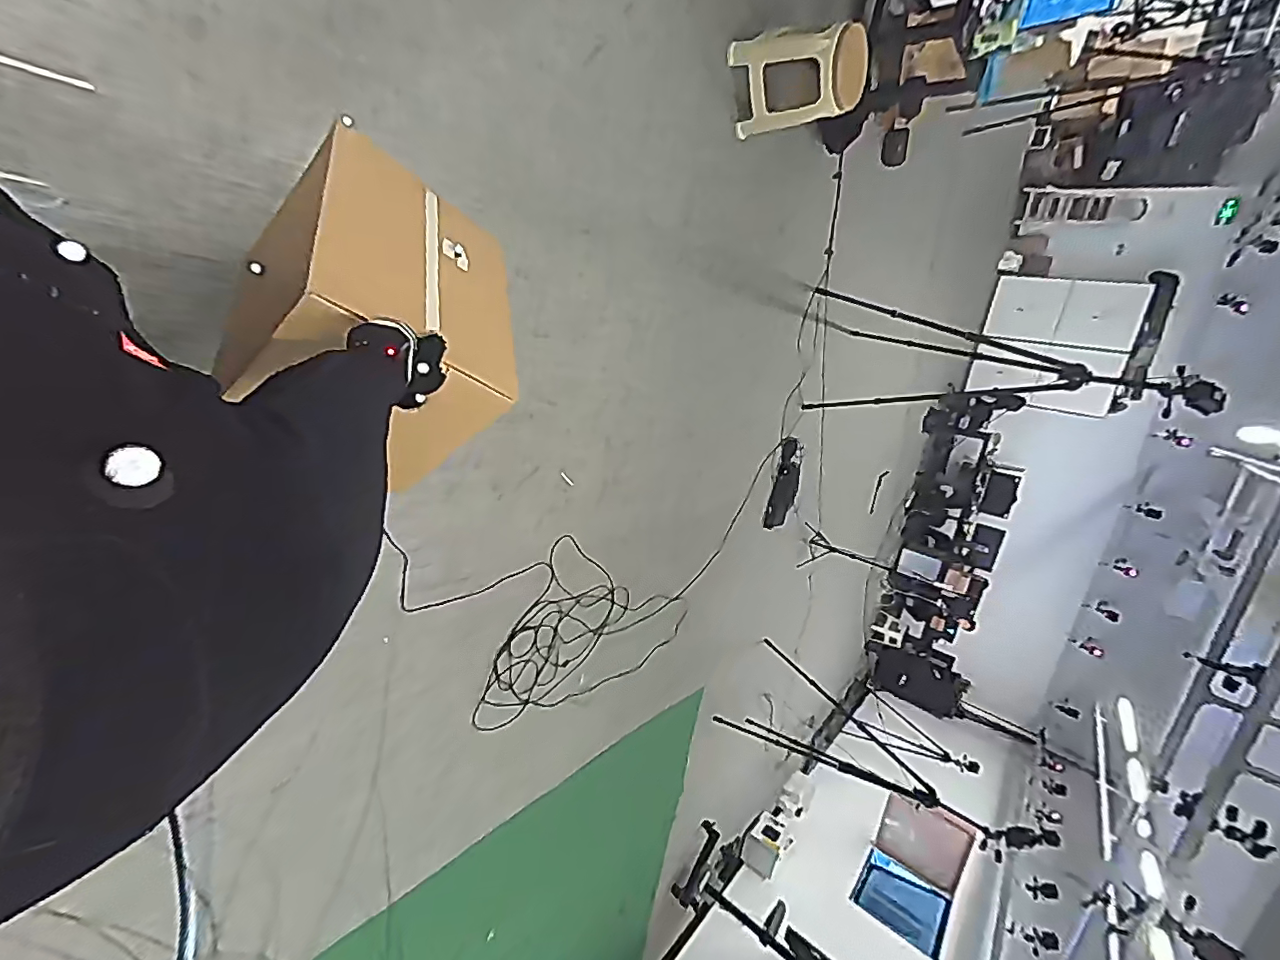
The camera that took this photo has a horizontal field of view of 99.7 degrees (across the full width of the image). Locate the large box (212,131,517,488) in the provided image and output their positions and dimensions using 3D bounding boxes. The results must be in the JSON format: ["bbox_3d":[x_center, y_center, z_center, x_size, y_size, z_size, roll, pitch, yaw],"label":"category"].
[{"bbox_3d":[-0.442,-0.255,0.899,0.320,0.408,0.320,-32,144,25],"label":"large box"}]
